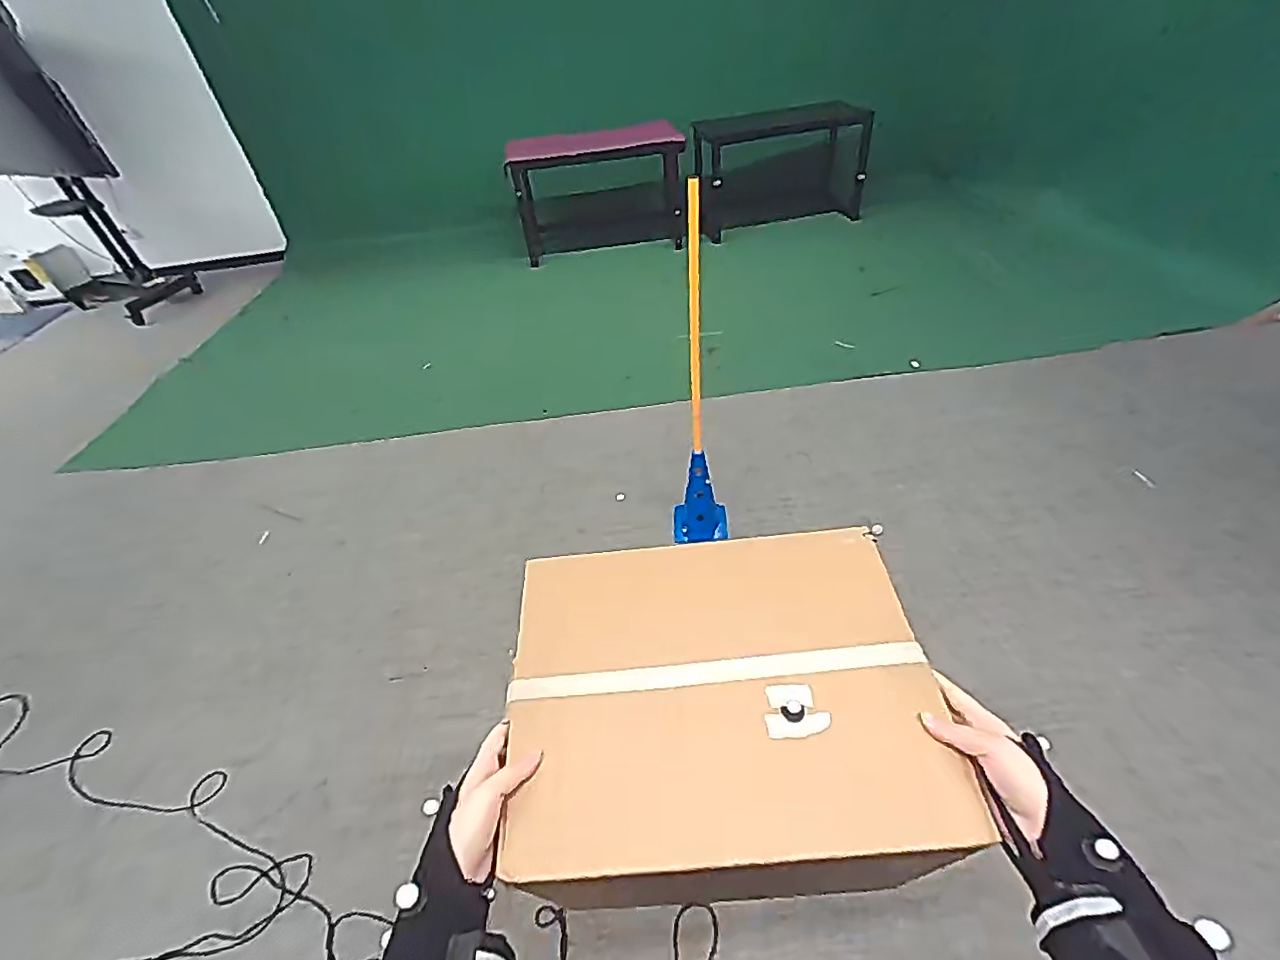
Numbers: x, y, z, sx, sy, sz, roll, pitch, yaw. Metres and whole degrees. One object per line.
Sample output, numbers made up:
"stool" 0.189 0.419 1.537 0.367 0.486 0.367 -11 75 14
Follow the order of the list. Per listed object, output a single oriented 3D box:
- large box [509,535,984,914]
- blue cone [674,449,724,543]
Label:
"large box" 0.087 0.297 0.650 0.408 0.320 0.320 -5 48 1
"blue cone" 0.212 0.050 1.974 0.193 0.380 0.192 -1 41 7
